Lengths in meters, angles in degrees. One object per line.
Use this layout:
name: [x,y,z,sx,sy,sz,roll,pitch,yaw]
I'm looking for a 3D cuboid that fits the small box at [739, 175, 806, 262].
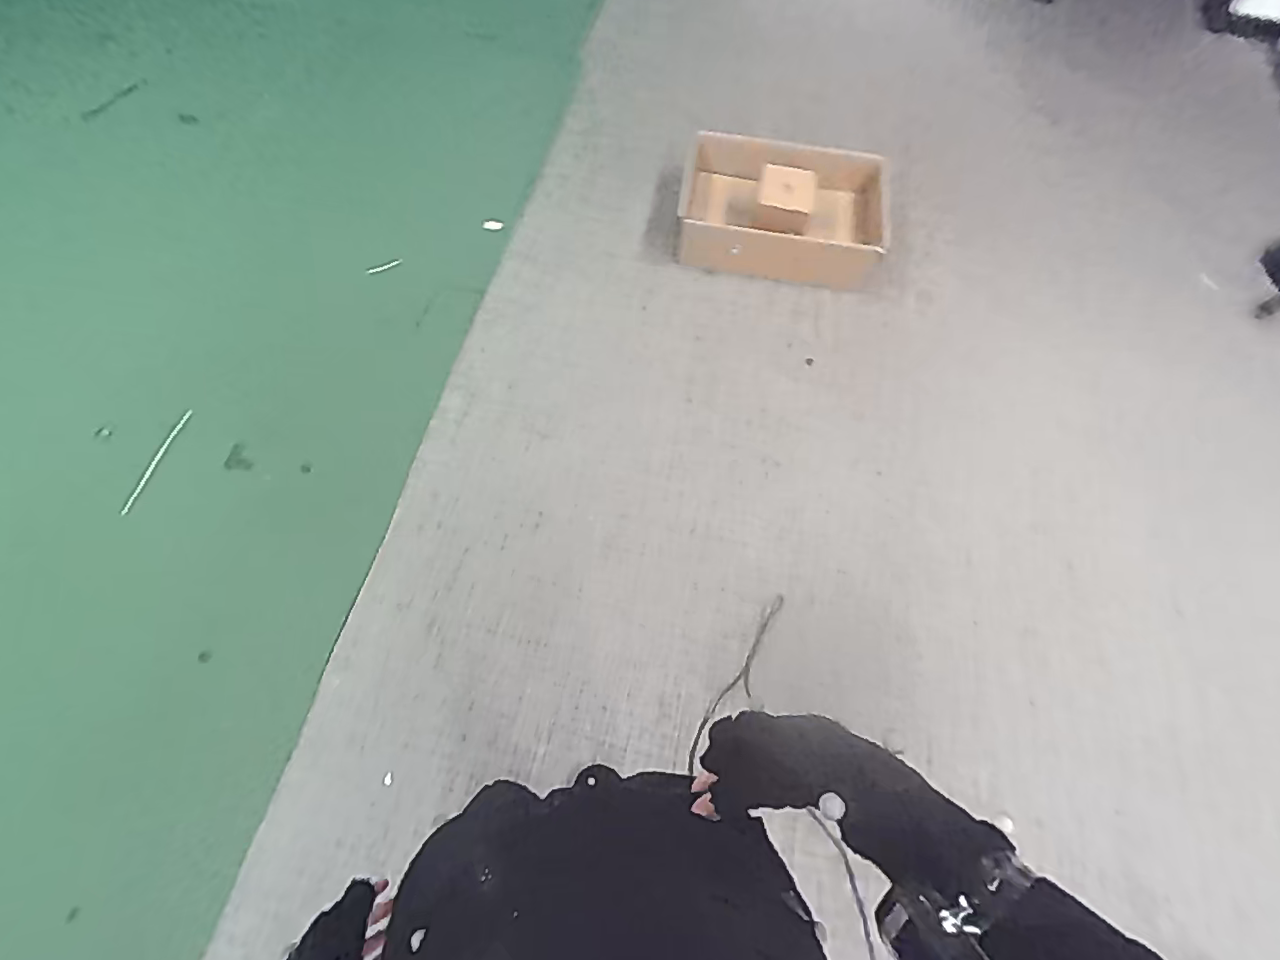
small box: [0.415,-0.821,1.709,0.168,0.176,0.179,11,65,1]
